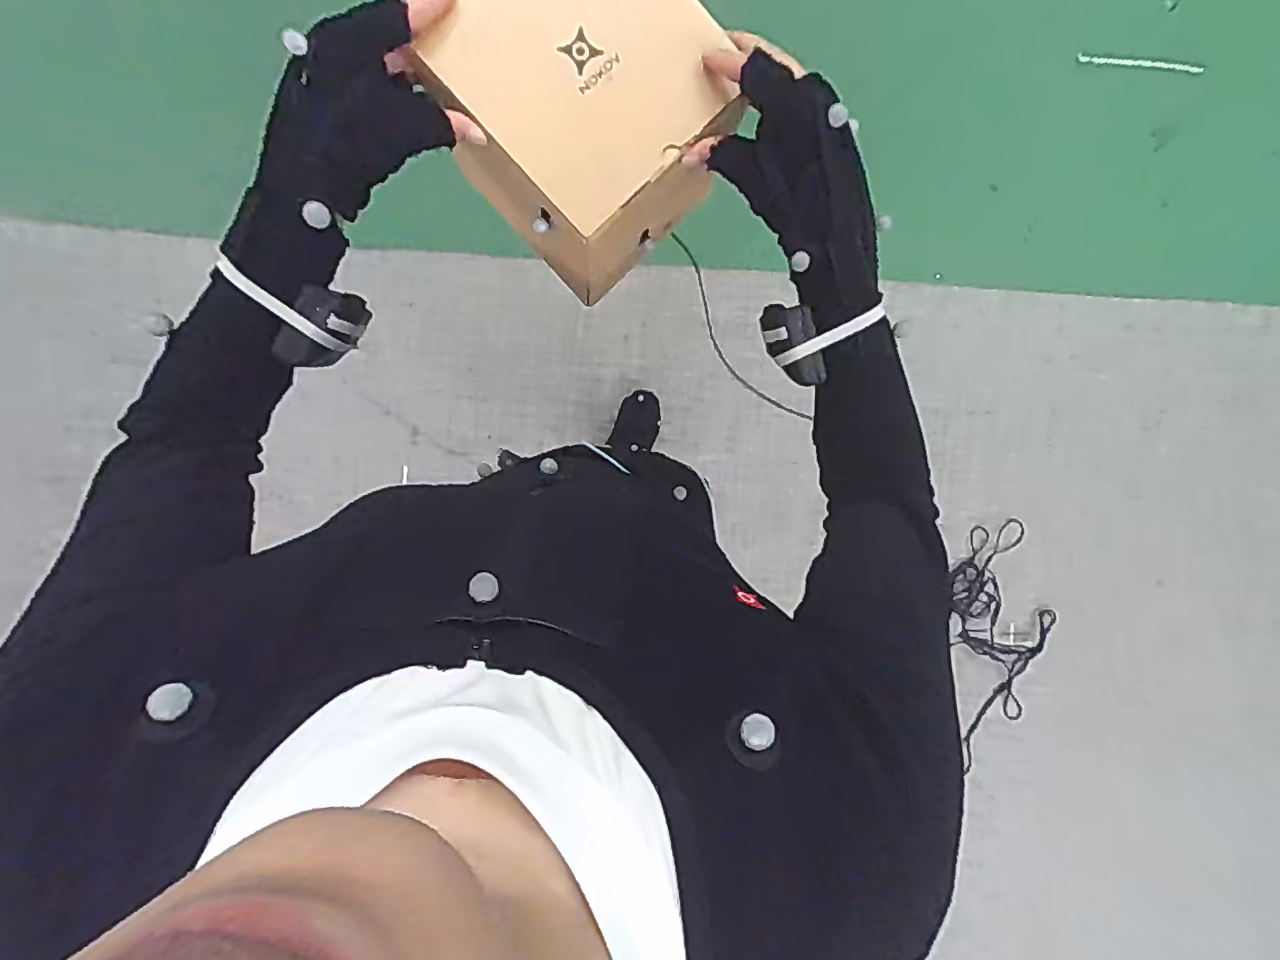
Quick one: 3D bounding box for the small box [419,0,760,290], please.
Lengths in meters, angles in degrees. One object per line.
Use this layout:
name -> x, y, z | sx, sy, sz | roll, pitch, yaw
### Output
small box -> -0.039, -0.290, 0.446 | 0.168, 0.176, 0.179 | -43, 96, -2
